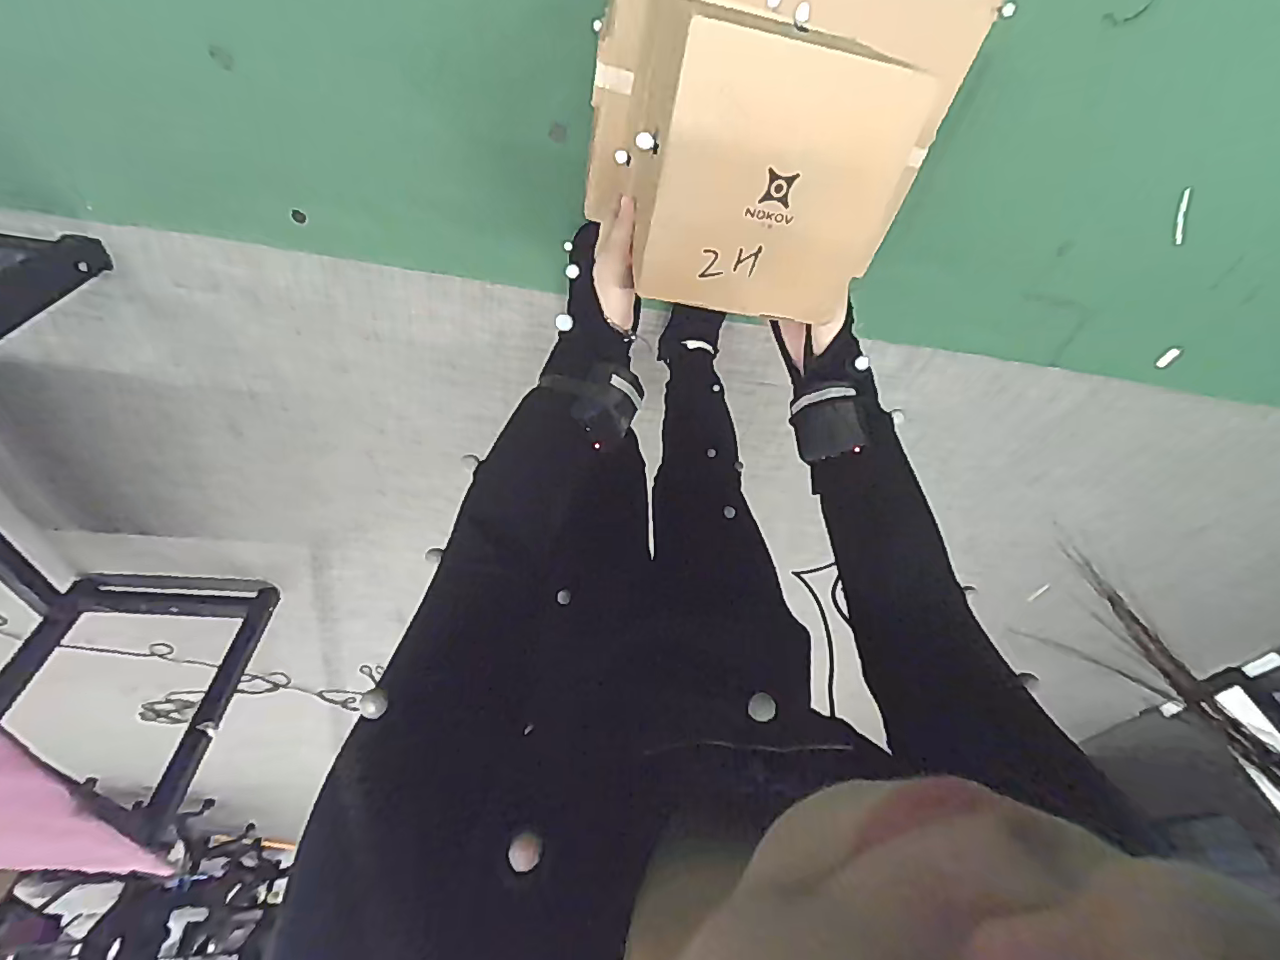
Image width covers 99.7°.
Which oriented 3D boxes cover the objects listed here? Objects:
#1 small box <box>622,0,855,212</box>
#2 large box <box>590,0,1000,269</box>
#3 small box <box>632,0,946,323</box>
[{"bbox_3d":[0.077,-0.370,0.541,0.168,0.176,0.179,7,133,-10],"label":"small box"},{"bbox_3d":[0.147,-0.526,0.732,0.408,0.320,0.320,6,134,-11],"label":"large box"},{"bbox_3d":[0.087,-0.253,0.426,0.168,0.176,0.179,6,135,-9],"label":"small box"}]
